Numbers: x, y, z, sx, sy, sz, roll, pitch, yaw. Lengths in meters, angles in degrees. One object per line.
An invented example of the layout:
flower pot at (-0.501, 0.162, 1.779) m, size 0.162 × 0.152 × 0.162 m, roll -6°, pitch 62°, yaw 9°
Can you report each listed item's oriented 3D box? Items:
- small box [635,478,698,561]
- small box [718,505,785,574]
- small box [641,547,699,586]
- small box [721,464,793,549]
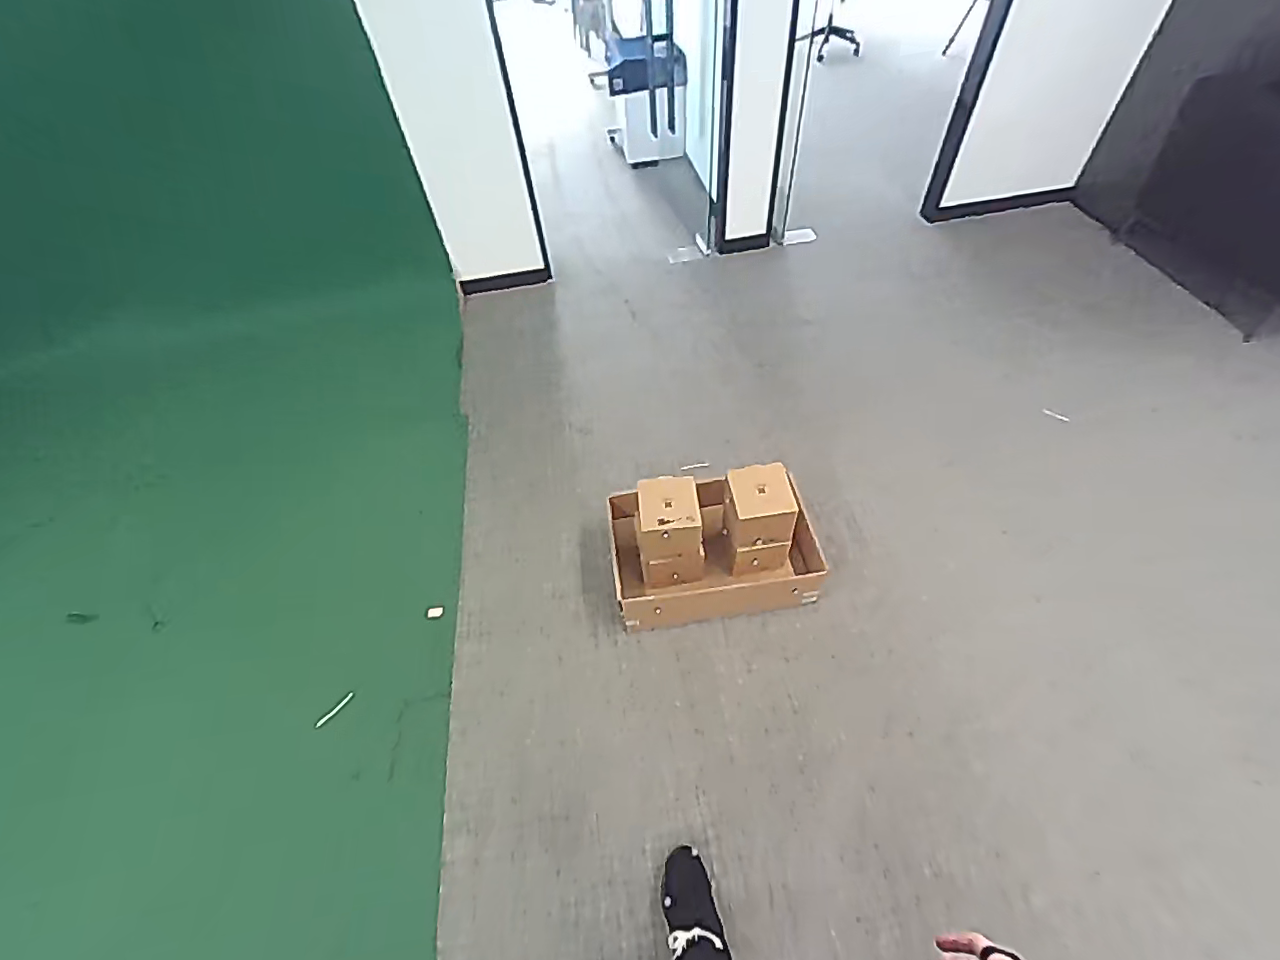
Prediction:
small box at (0.074, 0.116, 1.568) m, size 0.168 × 0.176 × 0.179 m, roll -5°, pitch 51°, yaw 0°
small box at (0.346, 0.183, 1.709) m, size 0.168 × 0.176 × 0.179 m, roll -9°, pitch 52°, yaw -2°
small box at (0.087, 0.218, 1.696) m, size 0.168 × 0.176 × 0.179 m, roll -8°, pitch 52°, yaw -5°
small box at (0.334, 0.080, 1.582) m, size 0.168 × 0.176 × 0.179 m, roll -8°, pitch 52°, yaw 0°
